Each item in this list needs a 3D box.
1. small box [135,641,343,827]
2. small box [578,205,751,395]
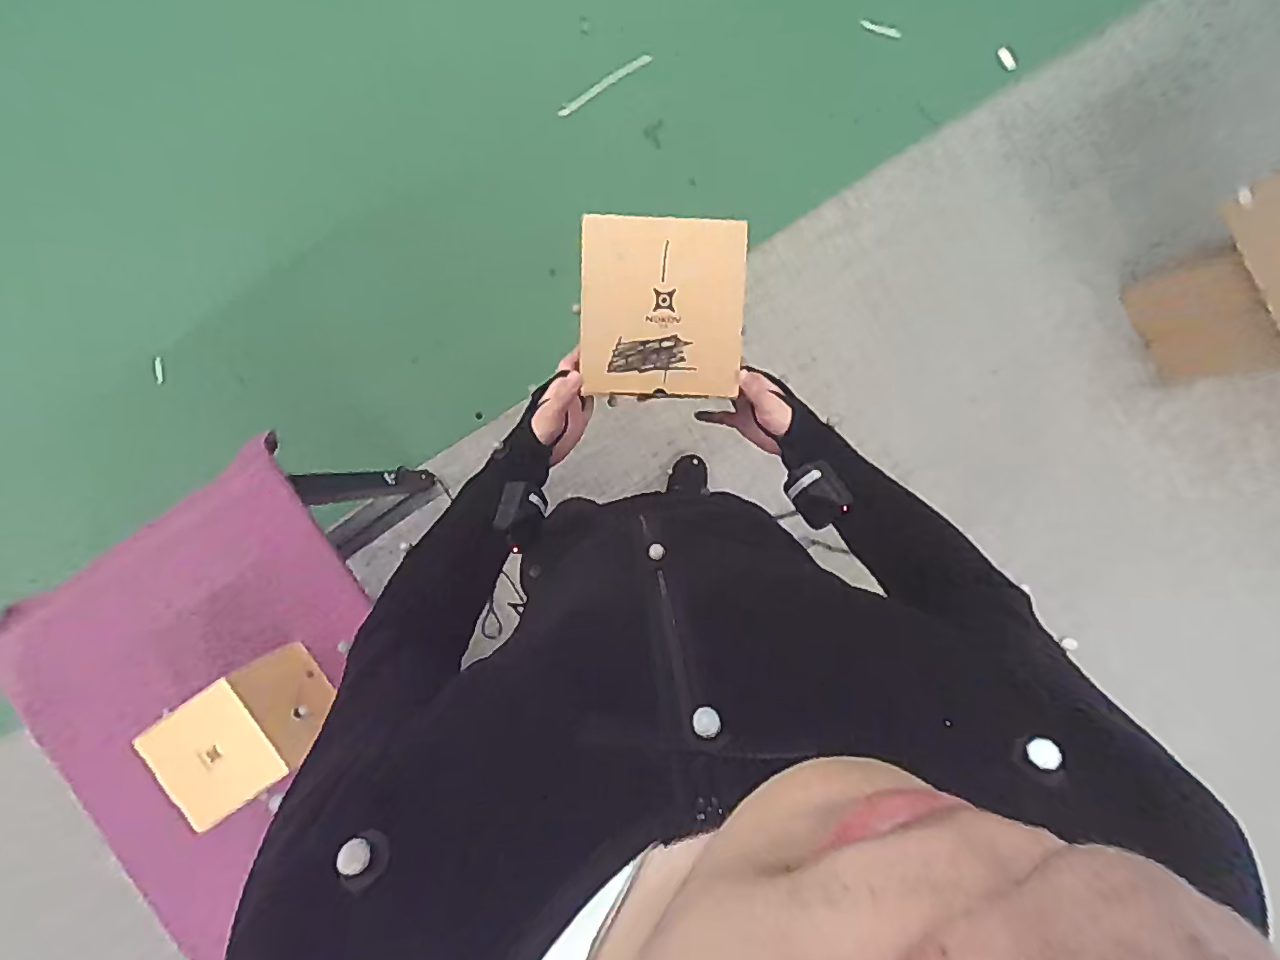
[{"bbox_3d":[-0.612,0.387,0.858,0.179,0.176,0.168,-36,91,4],"label":"small box"},{"bbox_3d":[0.021,-0.191,0.619,0.168,0.176,0.179,2,99,-3],"label":"small box"}]
